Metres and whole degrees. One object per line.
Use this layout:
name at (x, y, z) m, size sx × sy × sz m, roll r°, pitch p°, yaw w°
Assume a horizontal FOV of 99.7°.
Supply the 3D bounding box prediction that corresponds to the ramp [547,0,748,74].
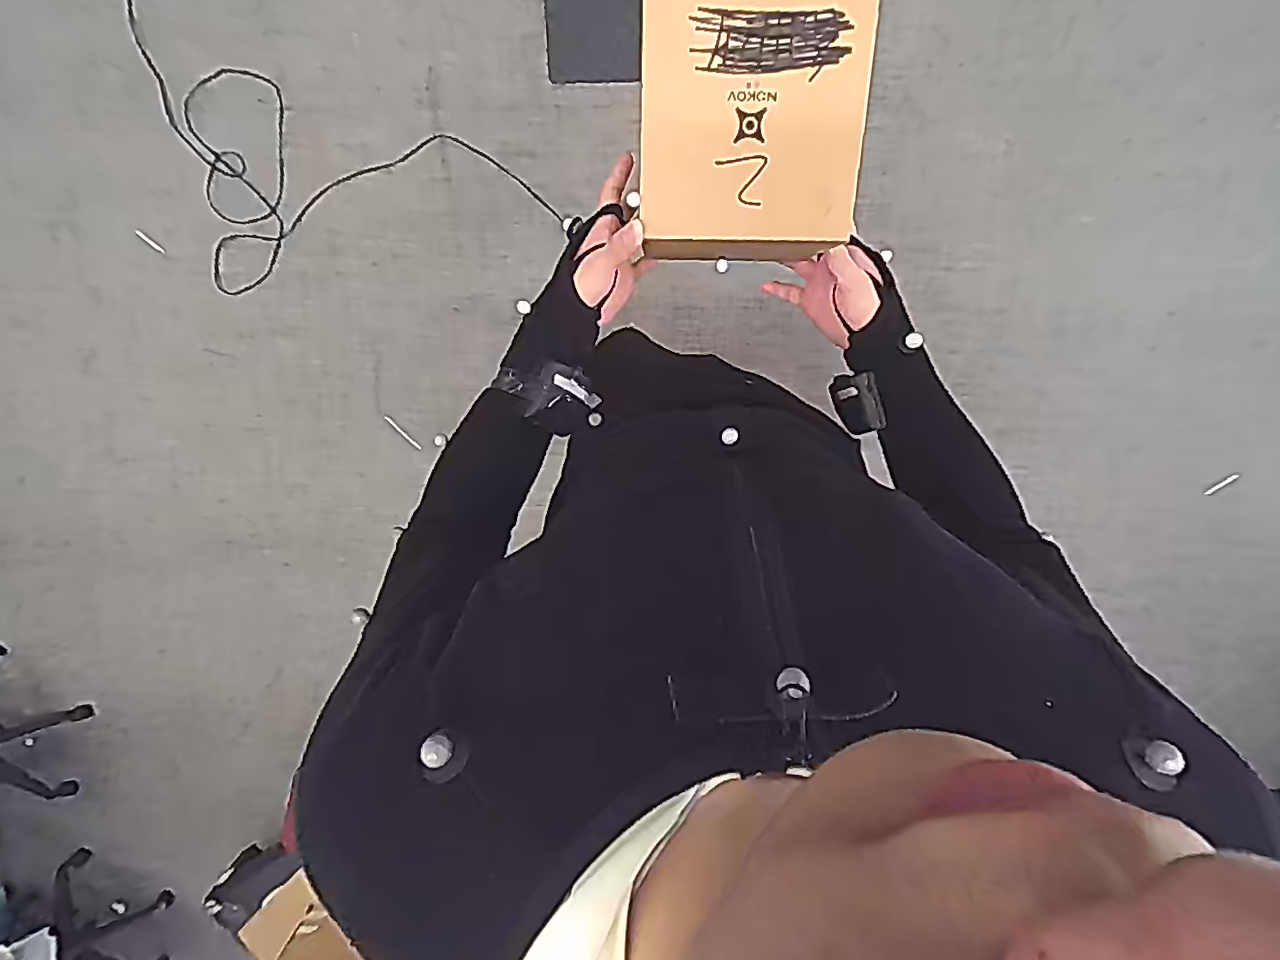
ramp at (0.012, -1.491, 1.164) m, size 0.509 × 0.206 × 0.991 m, roll -1°, pitch 105°, yaw 3°
